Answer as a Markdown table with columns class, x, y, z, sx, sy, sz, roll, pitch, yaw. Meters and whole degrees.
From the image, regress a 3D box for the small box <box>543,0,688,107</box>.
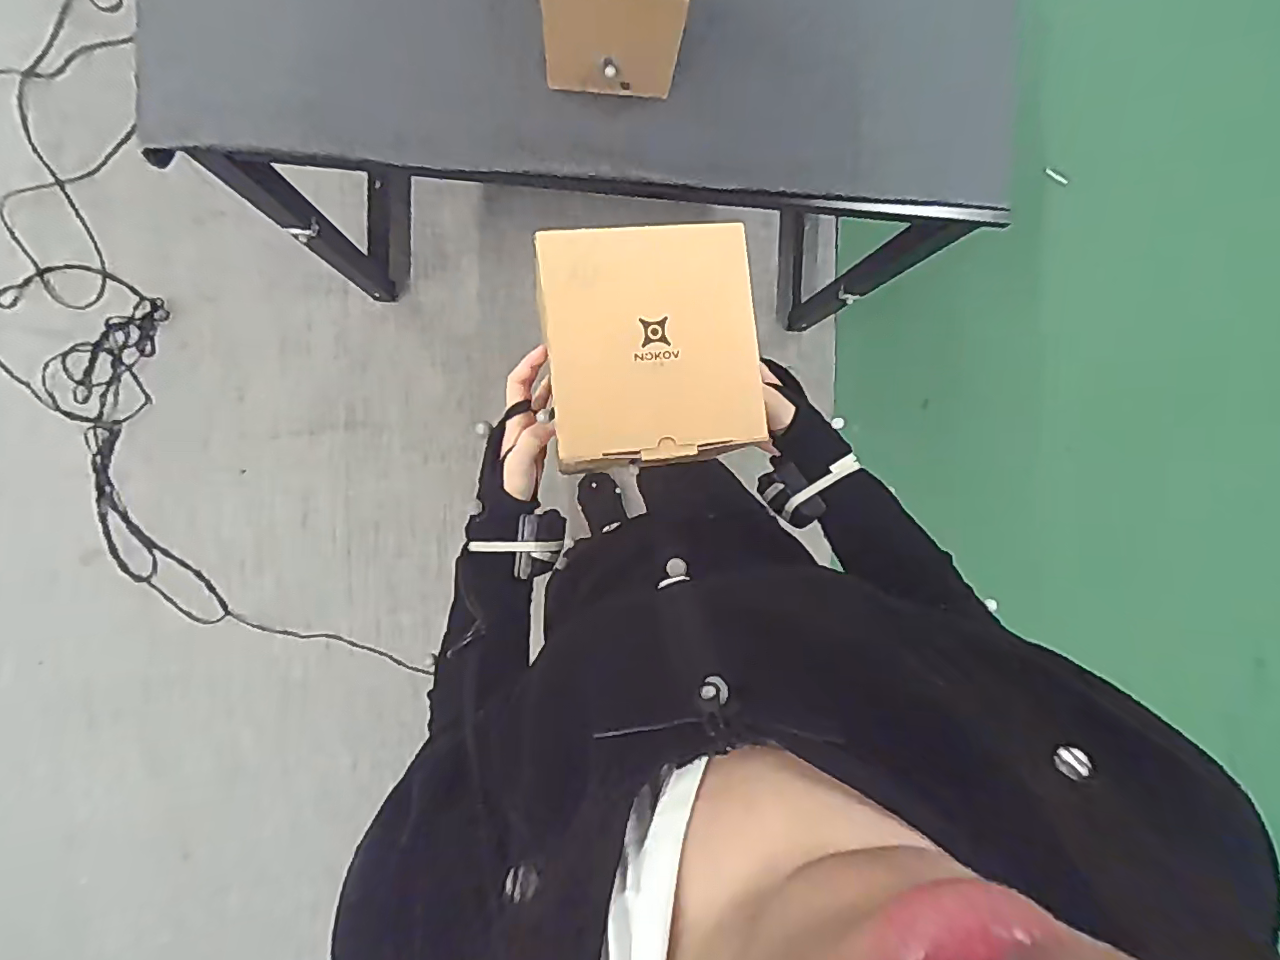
| class | x | y | z | sx | sy | sz | roll | pitch | yaw |
| --- | --- | --- | --- | --- | --- | --- | --- | --- | --- |
| small box | -0.034 | -0.611 | 0.671 | 0.168 | 0.176 | 0.179 | 1 | 91 | -6 |

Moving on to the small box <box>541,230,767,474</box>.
| class | x | y | z | sx | sy | sz | roll | pitch | yaw |
| --- | --- | --- | --- | --- | --- | --- | --- | --- | --- |
| small box | -0.001 | -0.104 | 0.499 | 0.168 | 0.176 | 0.179 | -7 | 89 | -10 |
